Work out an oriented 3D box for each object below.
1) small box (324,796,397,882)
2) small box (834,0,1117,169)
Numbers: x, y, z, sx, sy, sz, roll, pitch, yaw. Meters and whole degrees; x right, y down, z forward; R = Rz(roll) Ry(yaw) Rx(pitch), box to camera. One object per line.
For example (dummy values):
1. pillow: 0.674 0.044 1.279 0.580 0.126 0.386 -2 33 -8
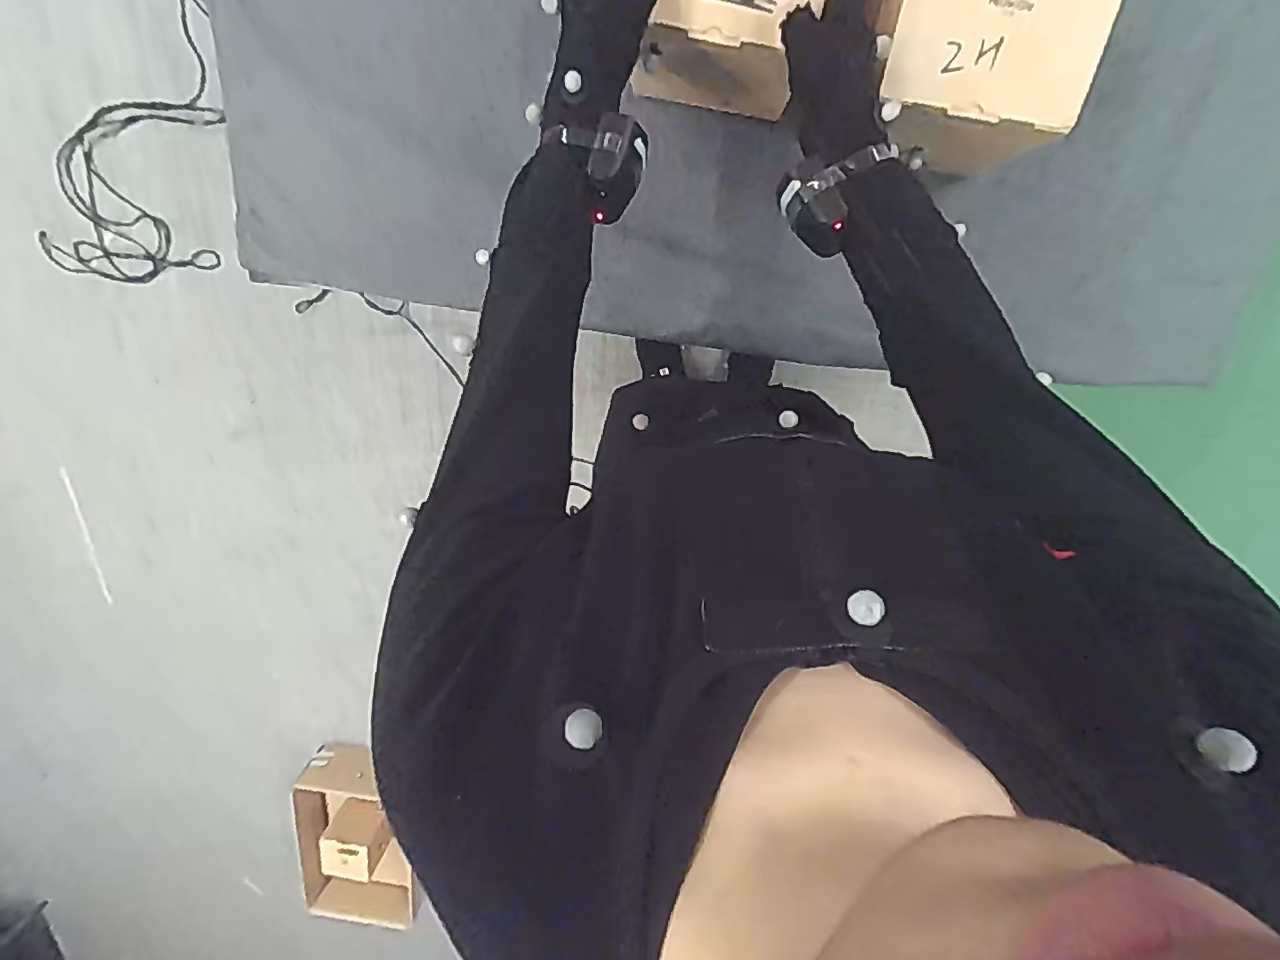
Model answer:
1. small box: -0.961 1.236 1.871 0.168 0.176 0.179 10 111 2
2. small box: 0.297 -0.414 0.498 0.168 0.176 0.179 11 109 2
